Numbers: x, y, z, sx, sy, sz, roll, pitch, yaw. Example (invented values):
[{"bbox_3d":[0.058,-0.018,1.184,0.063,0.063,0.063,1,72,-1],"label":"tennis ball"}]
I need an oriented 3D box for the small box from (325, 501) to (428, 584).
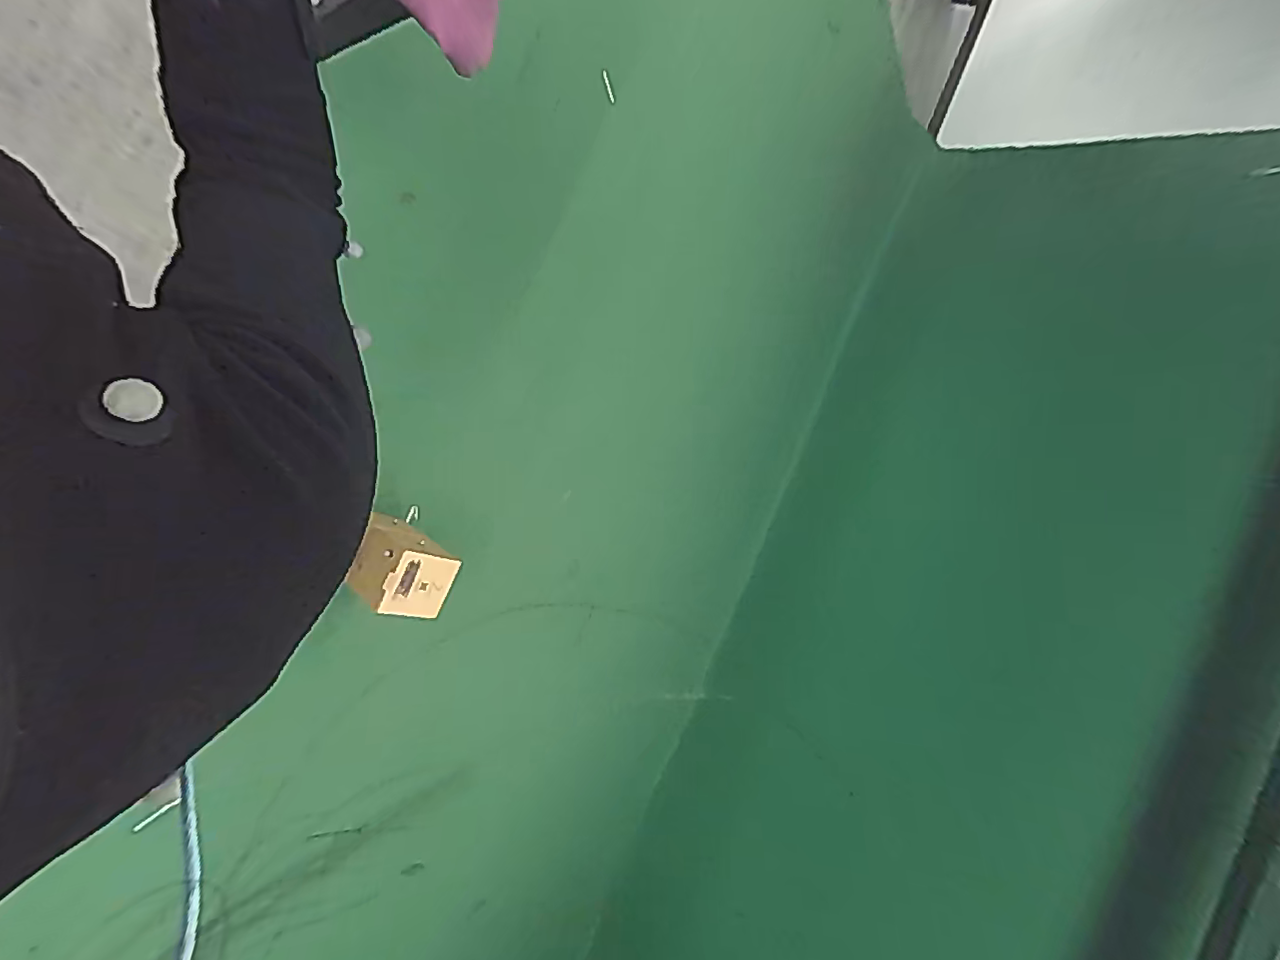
[{"bbox_3d":[-0.741,0.171,1.514,0.179,0.176,0.168,29,85,-53],"label":"small box"}]
